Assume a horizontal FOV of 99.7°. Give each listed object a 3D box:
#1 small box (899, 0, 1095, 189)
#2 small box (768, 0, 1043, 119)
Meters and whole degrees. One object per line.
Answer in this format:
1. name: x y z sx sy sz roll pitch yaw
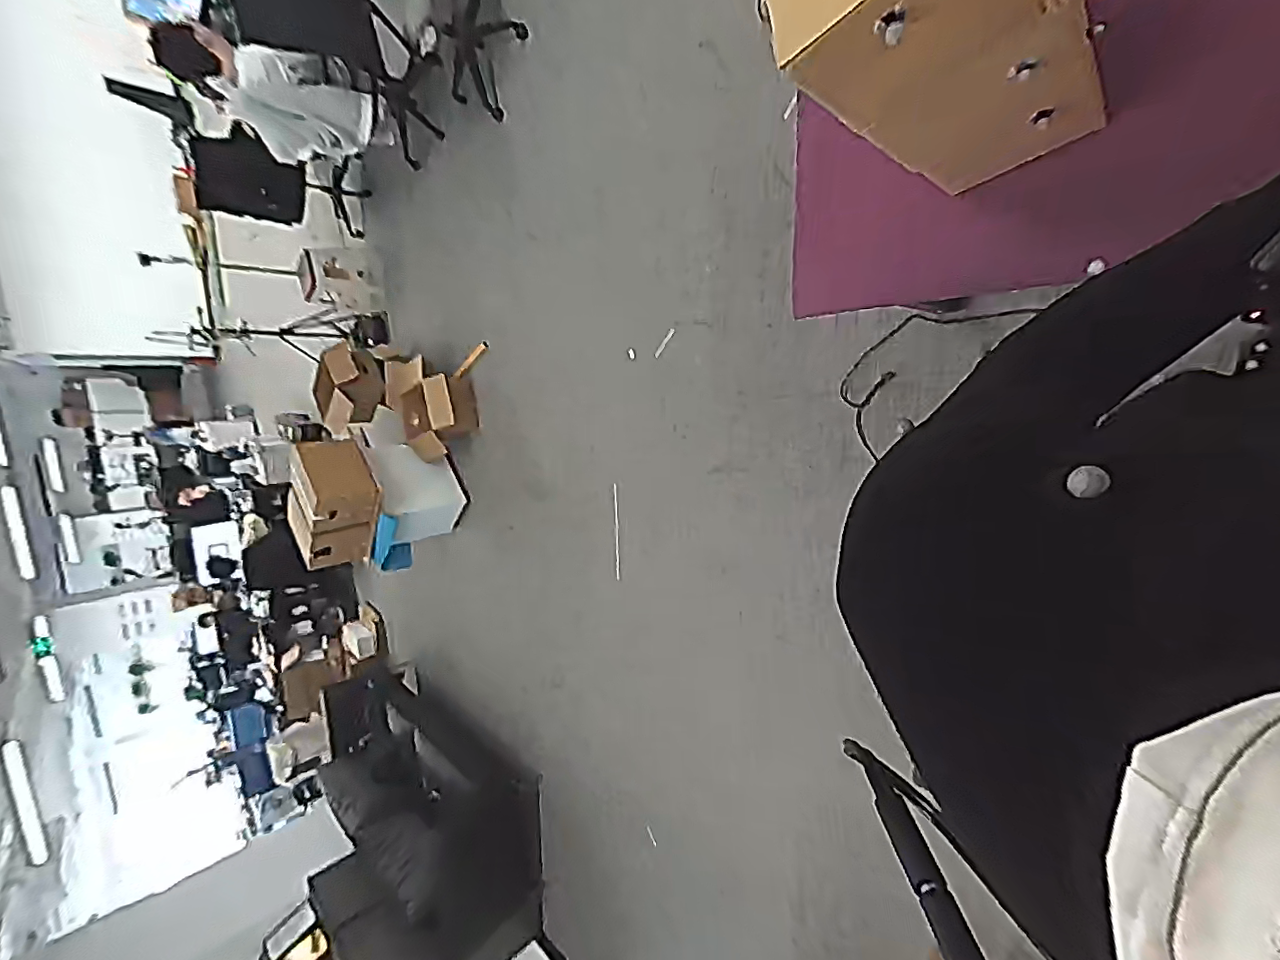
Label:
1. small box: 0.436 -0.494 0.666 0.179 0.176 0.168 -10 91 45
2. small box: 0.213 -0.439 0.433 0.179 0.176 0.168 -12 90 45
